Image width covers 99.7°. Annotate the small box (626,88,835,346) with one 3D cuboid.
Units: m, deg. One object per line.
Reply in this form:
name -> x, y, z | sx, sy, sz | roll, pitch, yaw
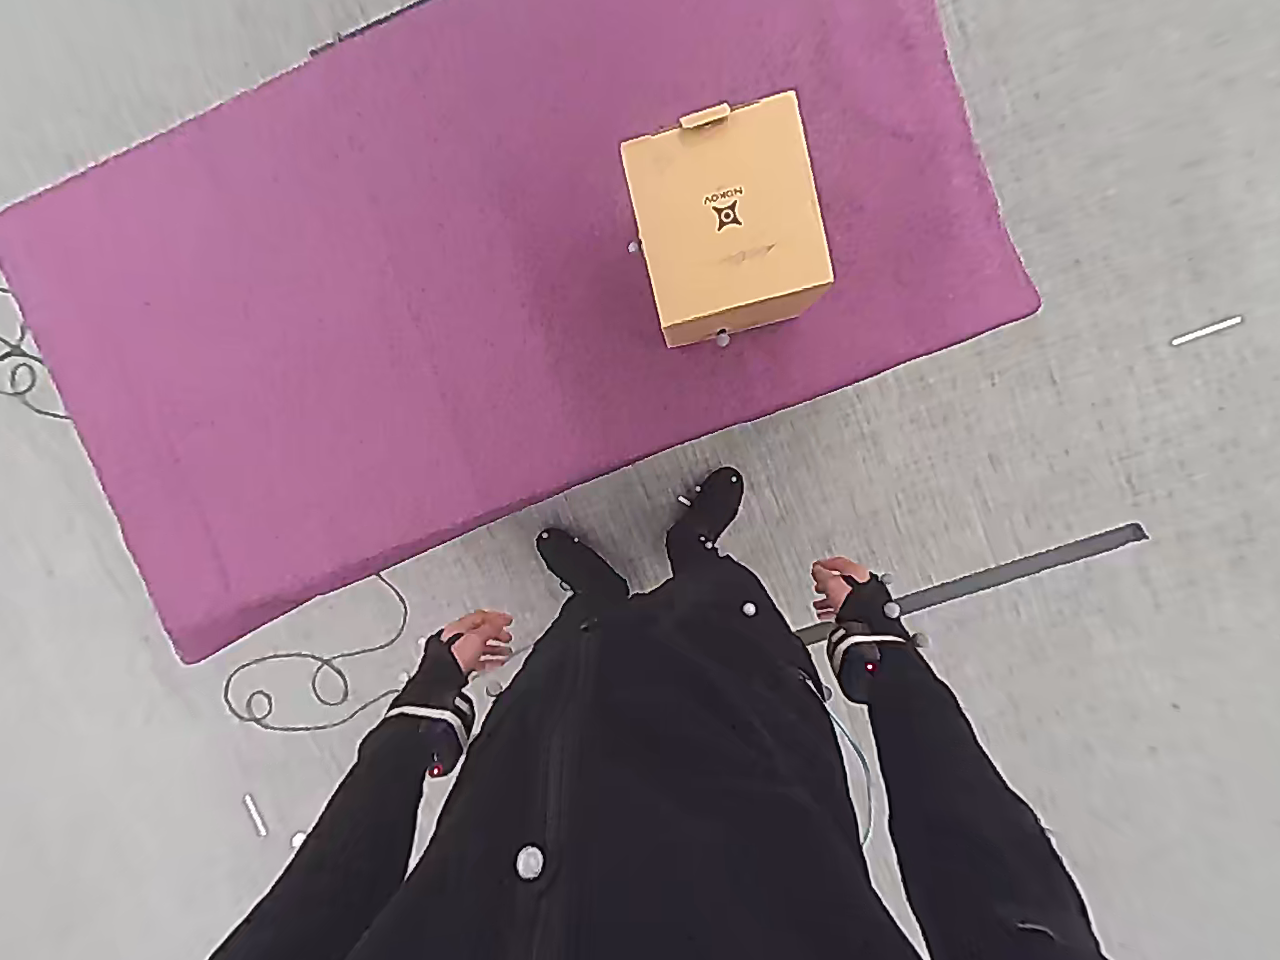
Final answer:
small box -> 0.088, -0.255, 0.571 | 0.168, 0.176, 0.179 | -12, 95, 7
